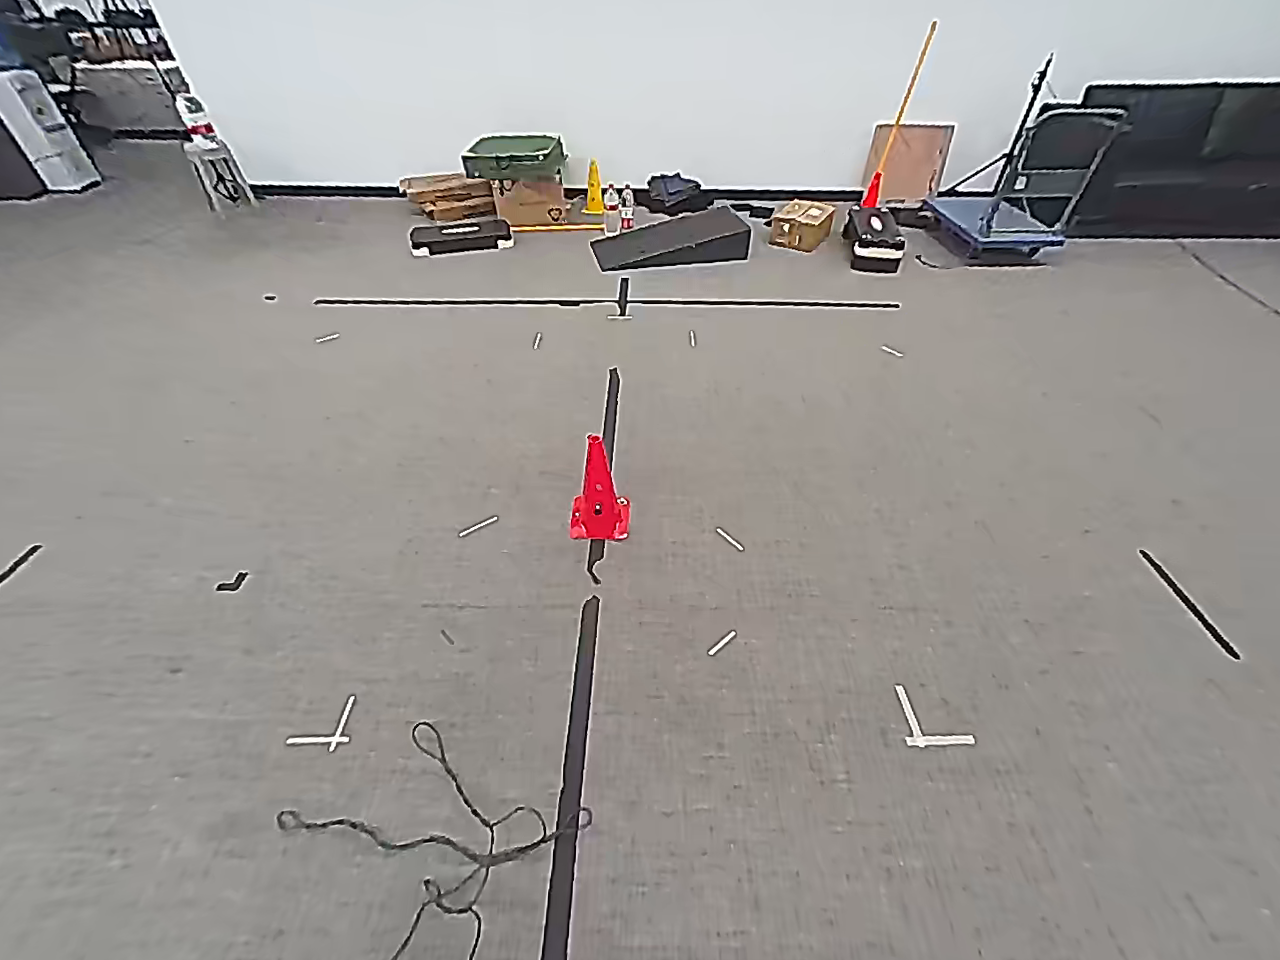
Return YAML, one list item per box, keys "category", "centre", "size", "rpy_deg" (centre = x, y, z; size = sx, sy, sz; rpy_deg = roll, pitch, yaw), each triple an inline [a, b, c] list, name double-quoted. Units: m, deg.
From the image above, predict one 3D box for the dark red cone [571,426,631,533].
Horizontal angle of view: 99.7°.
- category: "dark red cone"
  centre: [-0.134, -0.014, 1.756]
  size: [0.201, 0.394, 0.202]
  rpy_deg: [0, 44, 1]
